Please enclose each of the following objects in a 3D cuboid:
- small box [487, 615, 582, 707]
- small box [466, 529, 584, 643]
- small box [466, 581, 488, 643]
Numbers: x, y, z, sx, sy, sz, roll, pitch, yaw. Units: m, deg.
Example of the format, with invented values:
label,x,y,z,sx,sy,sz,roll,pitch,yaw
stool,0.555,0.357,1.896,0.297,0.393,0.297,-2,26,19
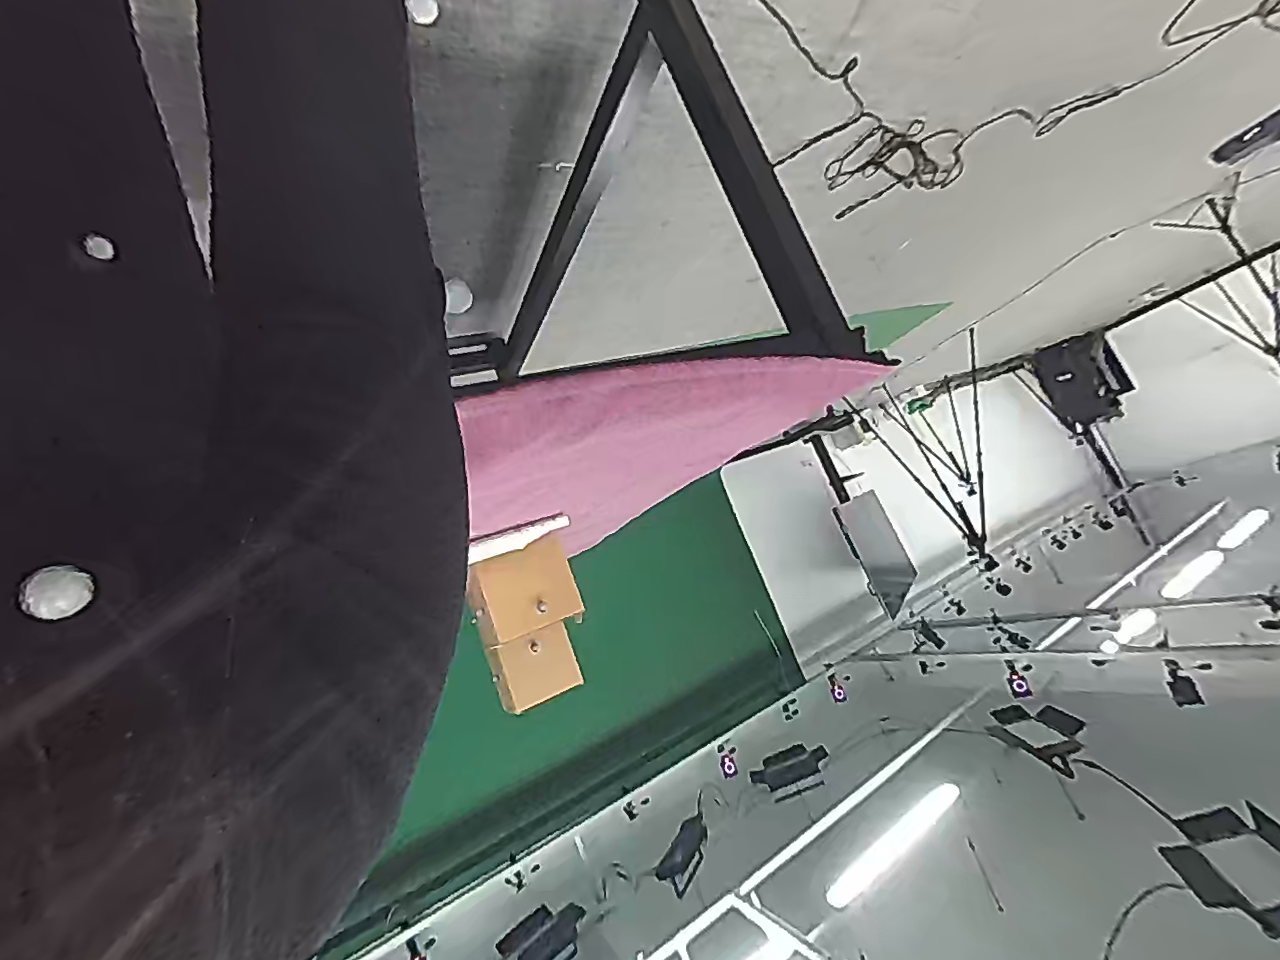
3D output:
label,x,y,z,sx,sy,sz,roll,pitch,yaw
small box,-0.275,0.454,1.371,0.179,0.176,0.168,-16,170,-29
small box,-0.243,0.217,1.108,0.179,0.176,0.168,-18,170,-27
small box,-0.336,0.305,1.402,0.179,0.176,0.168,-17,170,-30
